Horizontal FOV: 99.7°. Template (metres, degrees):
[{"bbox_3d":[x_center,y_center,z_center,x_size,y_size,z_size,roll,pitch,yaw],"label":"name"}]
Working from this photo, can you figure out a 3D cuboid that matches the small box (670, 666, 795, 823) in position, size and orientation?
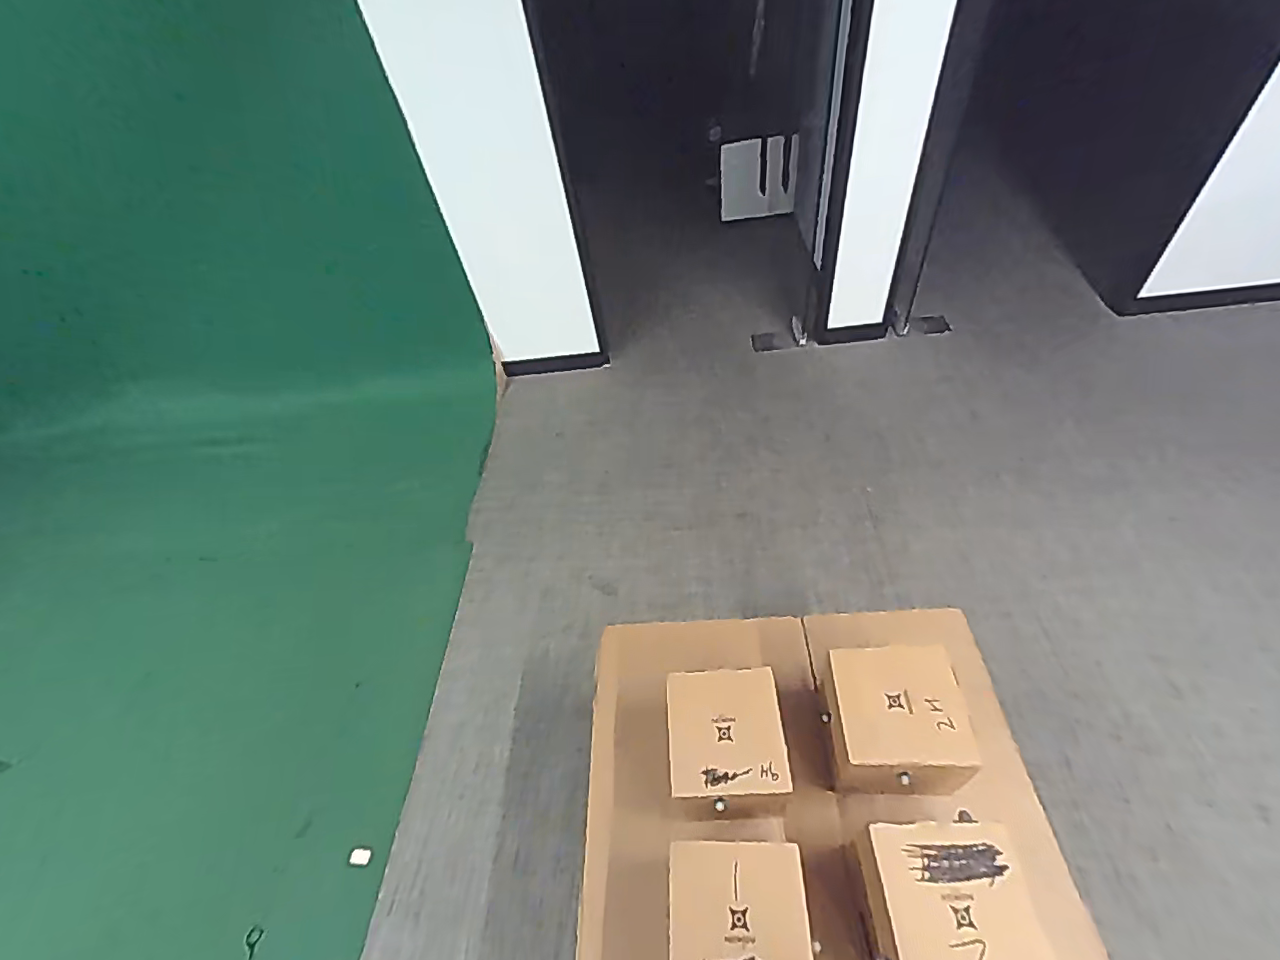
[{"bbox_3d":[0.138,0.412,0.839,0.168,0.176,0.179,-7,47,7],"label":"small box"}]
